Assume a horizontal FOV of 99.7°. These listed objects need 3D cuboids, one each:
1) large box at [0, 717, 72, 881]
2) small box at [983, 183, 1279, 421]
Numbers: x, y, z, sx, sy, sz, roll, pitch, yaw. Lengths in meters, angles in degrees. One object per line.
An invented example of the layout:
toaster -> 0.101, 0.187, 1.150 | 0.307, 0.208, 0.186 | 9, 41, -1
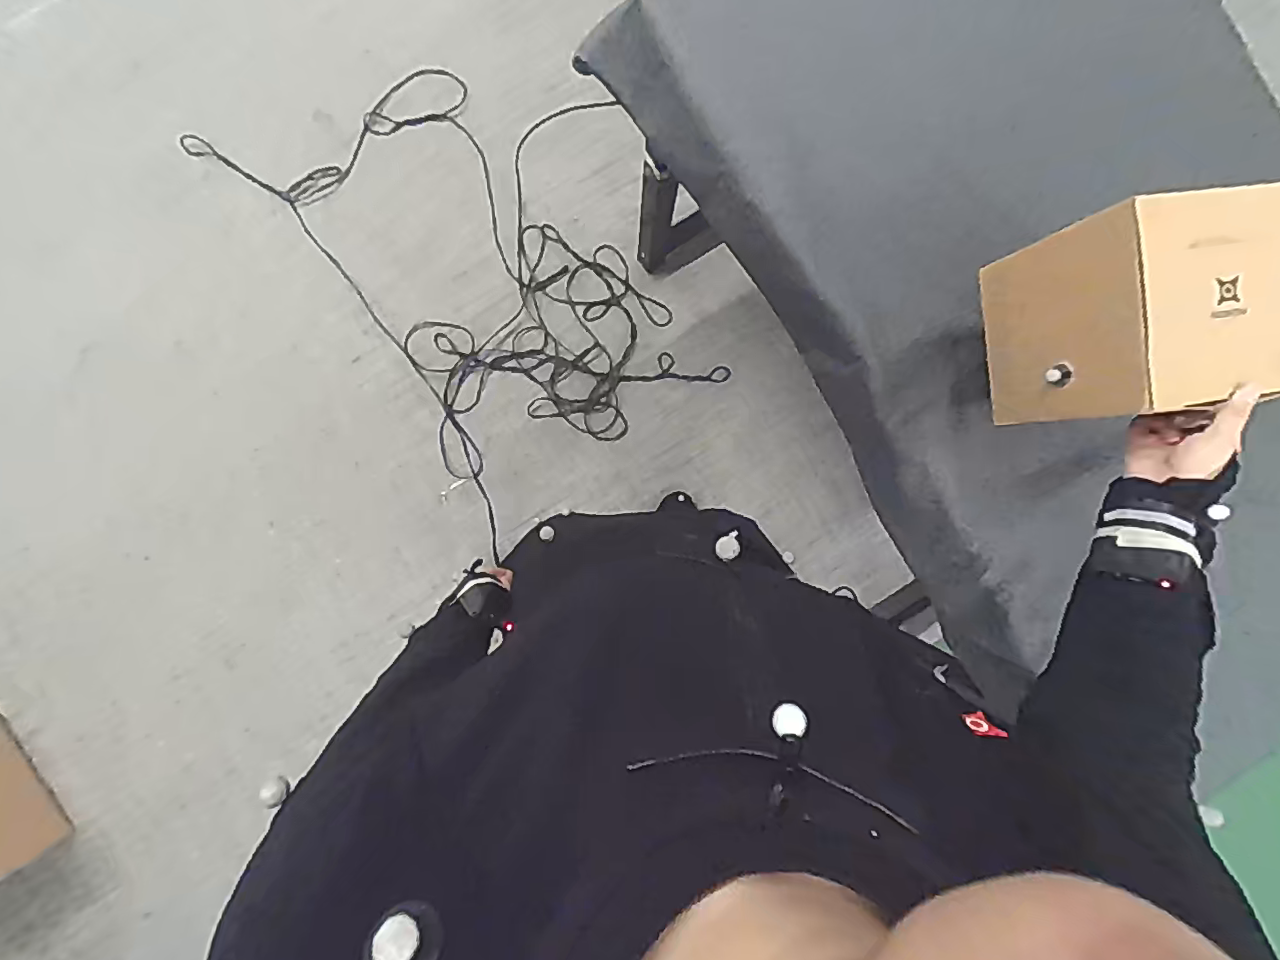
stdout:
large box -> -1.602, 0.766, 1.163 | 0.320, 0.320, 0.408 | -33, 90, -3
small box -> 0.473, -0.154, 0.524 | 0.168, 0.176, 0.179 | -9, 93, -7
